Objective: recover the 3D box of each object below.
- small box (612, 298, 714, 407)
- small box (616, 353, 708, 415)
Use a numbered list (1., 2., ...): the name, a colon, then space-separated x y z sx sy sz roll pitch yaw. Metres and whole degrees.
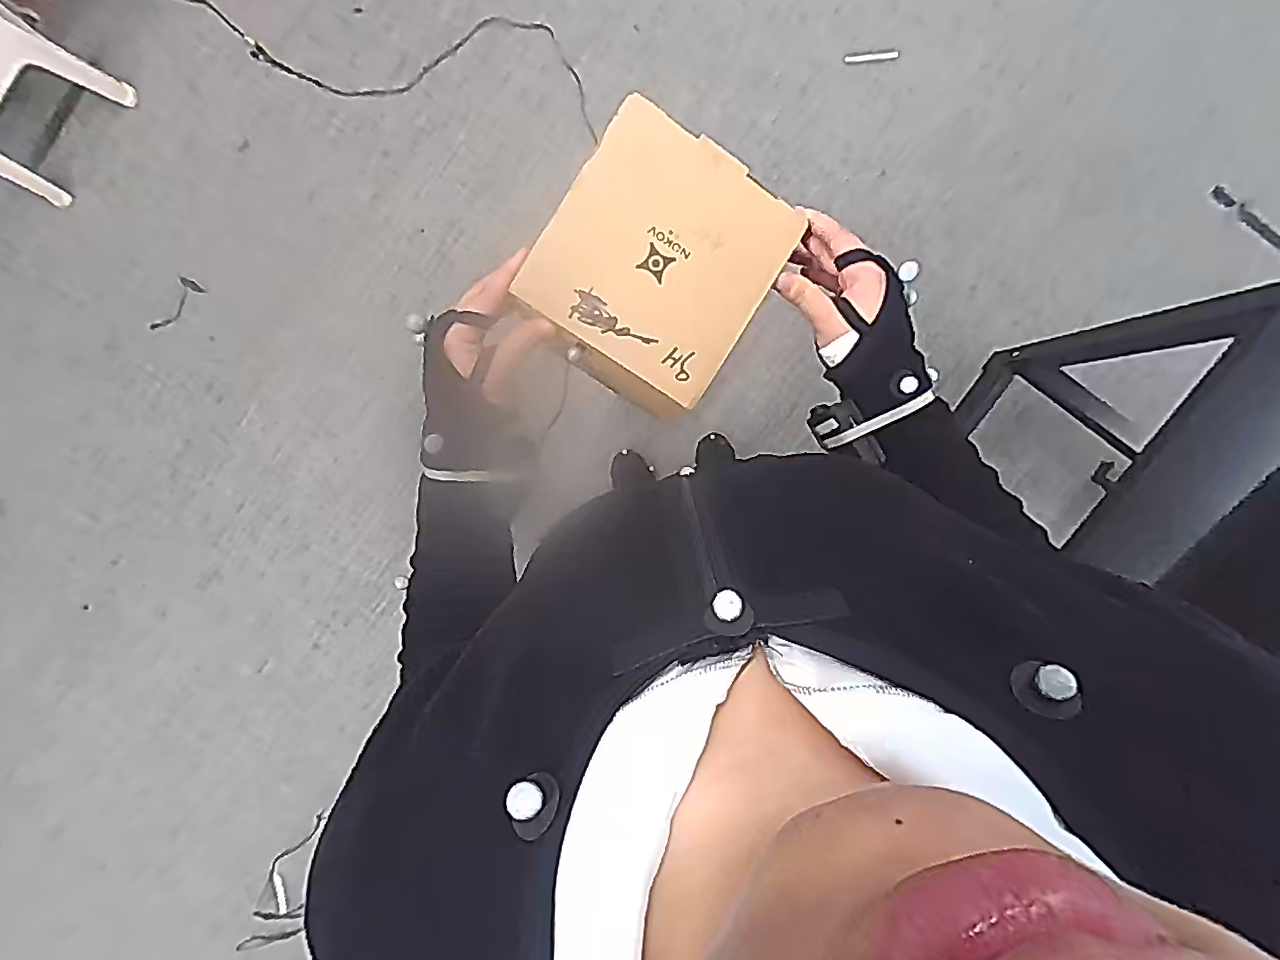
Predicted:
1. small box: 0.051 -0.281 1.241 0.168 0.176 0.179 29 93 -1
2. small box: 0.055 -0.285 1.403 0.168 0.176 0.179 33 95 0
